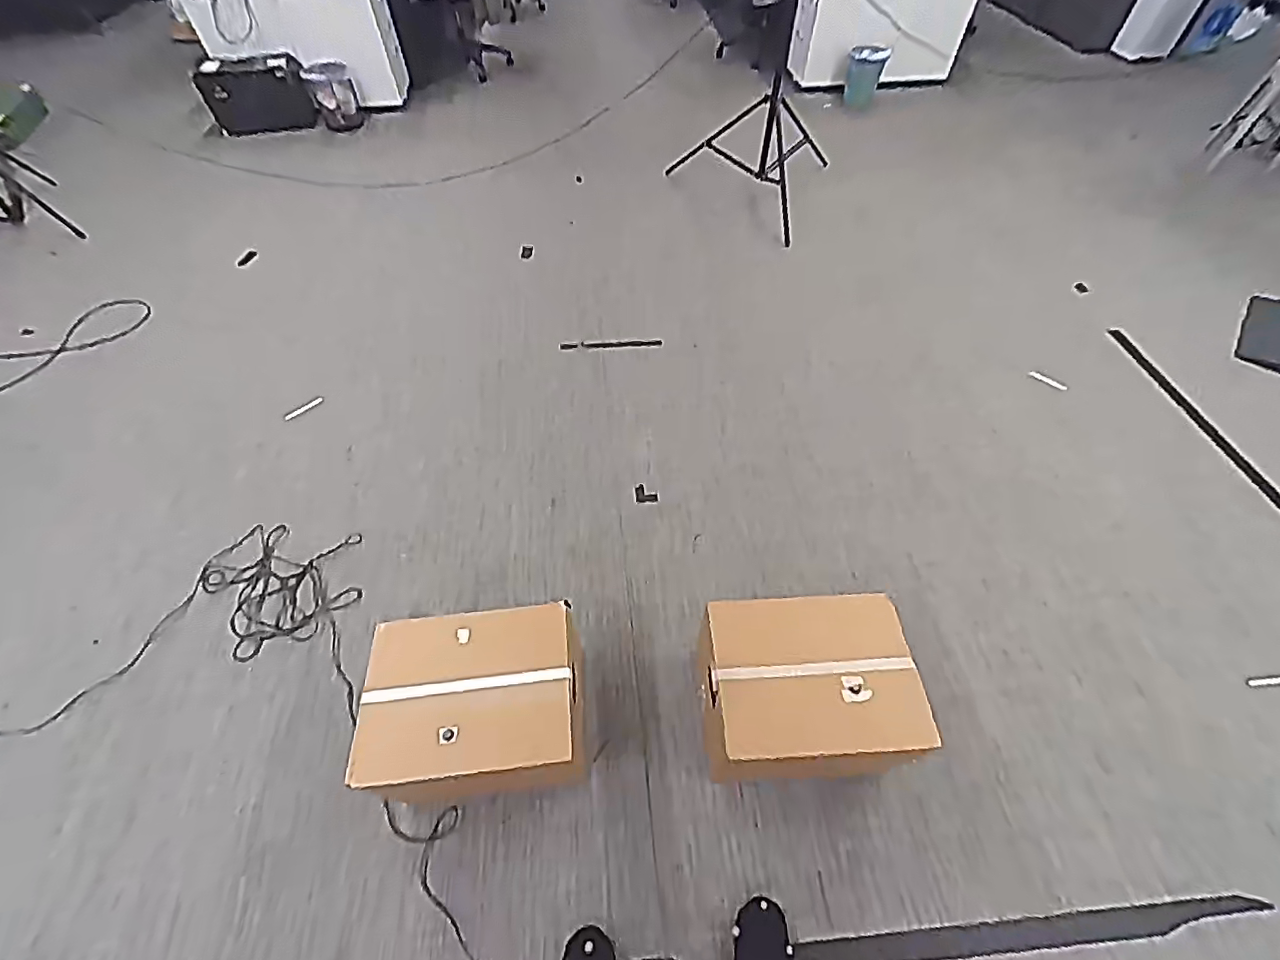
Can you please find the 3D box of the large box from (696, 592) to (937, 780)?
[{"bbox_3d":[0.354,0.469,1.218,0.408,0.320,0.320,-2,54,-2],"label":"large box"}]
